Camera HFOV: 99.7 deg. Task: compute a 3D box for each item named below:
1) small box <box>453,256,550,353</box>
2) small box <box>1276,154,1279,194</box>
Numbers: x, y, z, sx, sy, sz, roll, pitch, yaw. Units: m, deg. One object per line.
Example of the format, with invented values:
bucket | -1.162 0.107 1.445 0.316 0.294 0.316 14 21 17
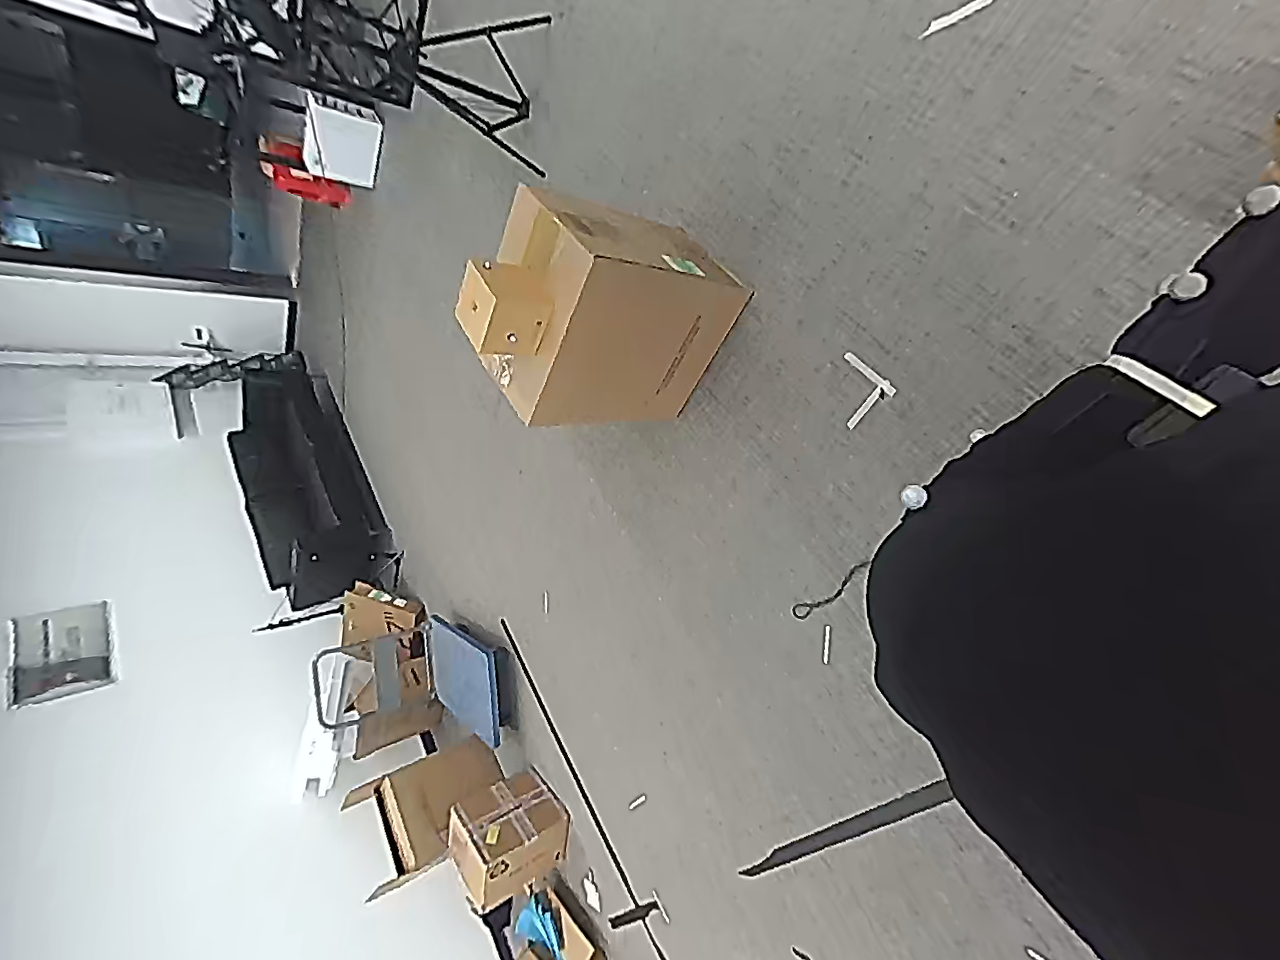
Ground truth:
small box | -0.353 -0.445 1.383 0.179 0.176 0.168 55 133 27
small box | 1.053 -0.456 0.748 0.179 0.176 0.168 -50 60 42
